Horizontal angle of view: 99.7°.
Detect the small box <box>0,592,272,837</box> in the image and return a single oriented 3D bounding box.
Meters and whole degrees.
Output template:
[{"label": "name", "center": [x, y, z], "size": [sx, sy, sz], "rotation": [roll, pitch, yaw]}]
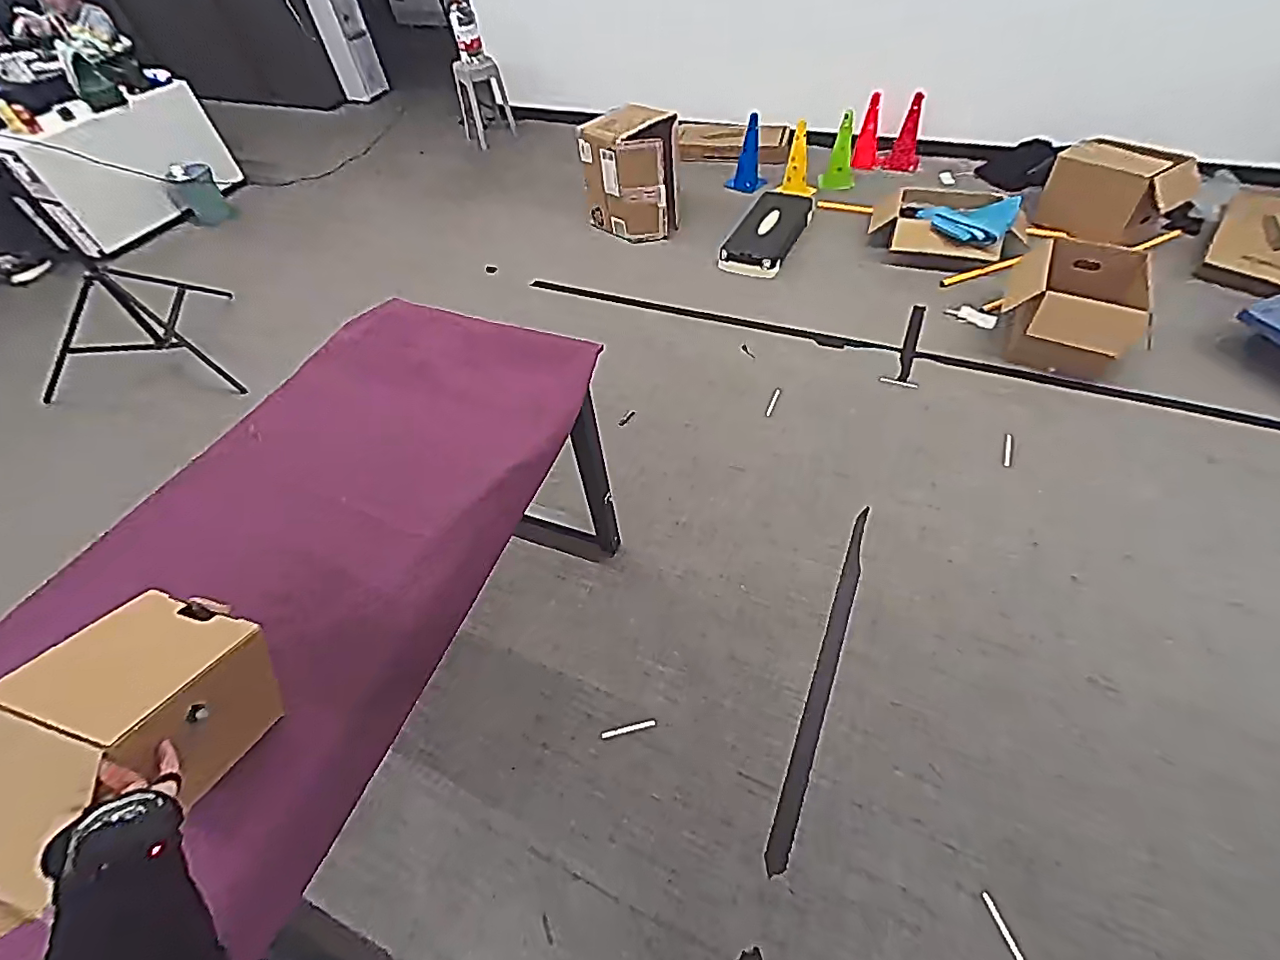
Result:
[{"label": "small box", "center": [-0.569, 0.266, 0.626], "size": [0.168, 0.176, 0.179], "rotation": [15, 28, 8]}]
